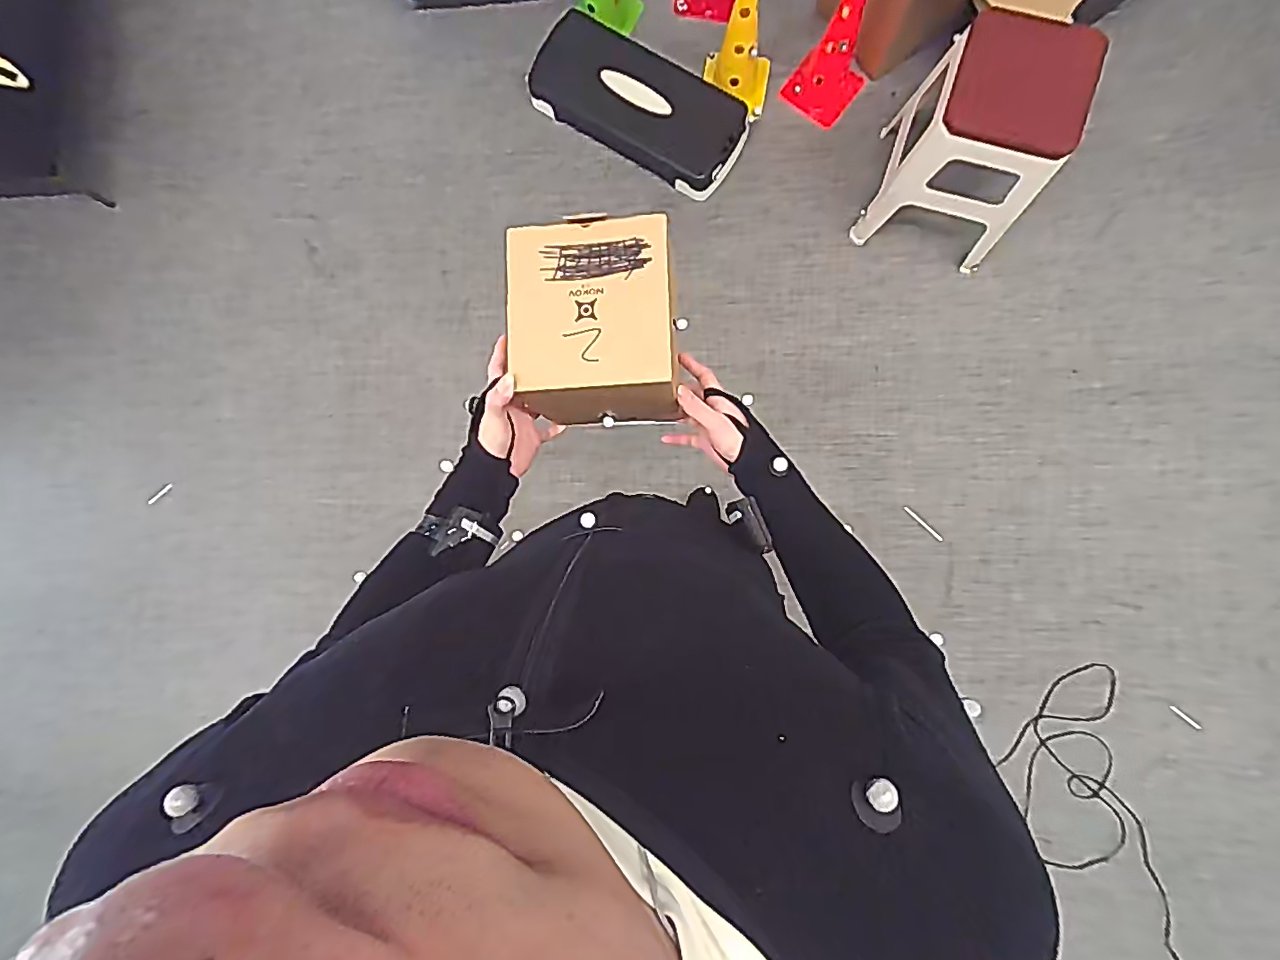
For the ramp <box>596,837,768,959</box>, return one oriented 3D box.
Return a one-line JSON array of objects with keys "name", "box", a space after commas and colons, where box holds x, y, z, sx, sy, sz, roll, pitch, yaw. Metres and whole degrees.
[{"name": "ramp", "box": [0.117, 1.543, 1.483, 0.509, 0.206, 0.991, -3, 87, 5]}]
